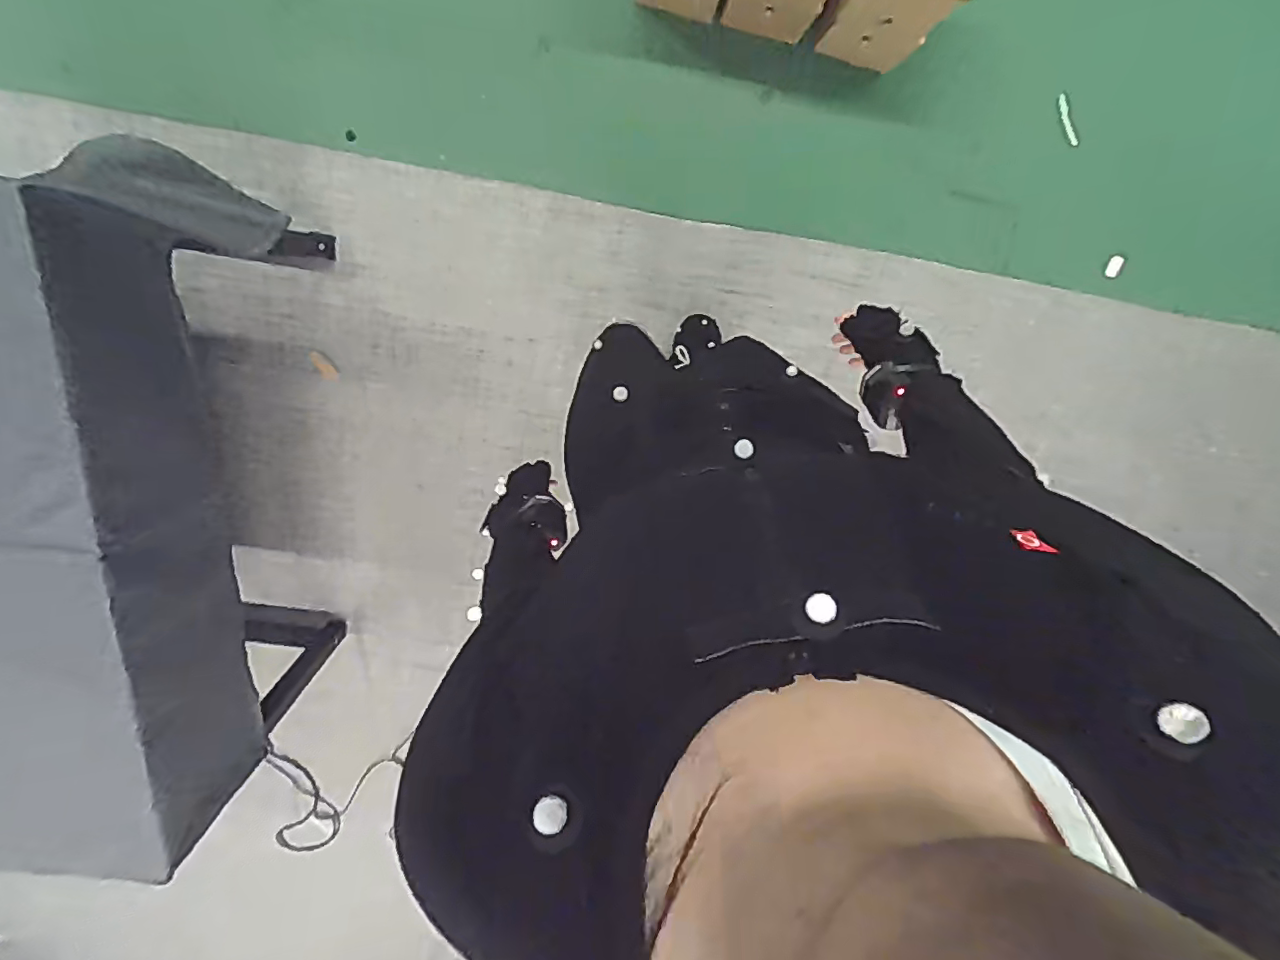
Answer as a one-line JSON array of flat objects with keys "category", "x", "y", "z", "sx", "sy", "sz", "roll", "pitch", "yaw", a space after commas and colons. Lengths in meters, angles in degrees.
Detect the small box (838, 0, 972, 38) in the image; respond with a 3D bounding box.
[{"category": "small box", "x": 0.476, "y": -0.907, "z": 0.937, "sx": 0.179, "sy": 0.176, "sz": 0.168, "roll": 9, "pitch": 110, "yaw": -5}]
